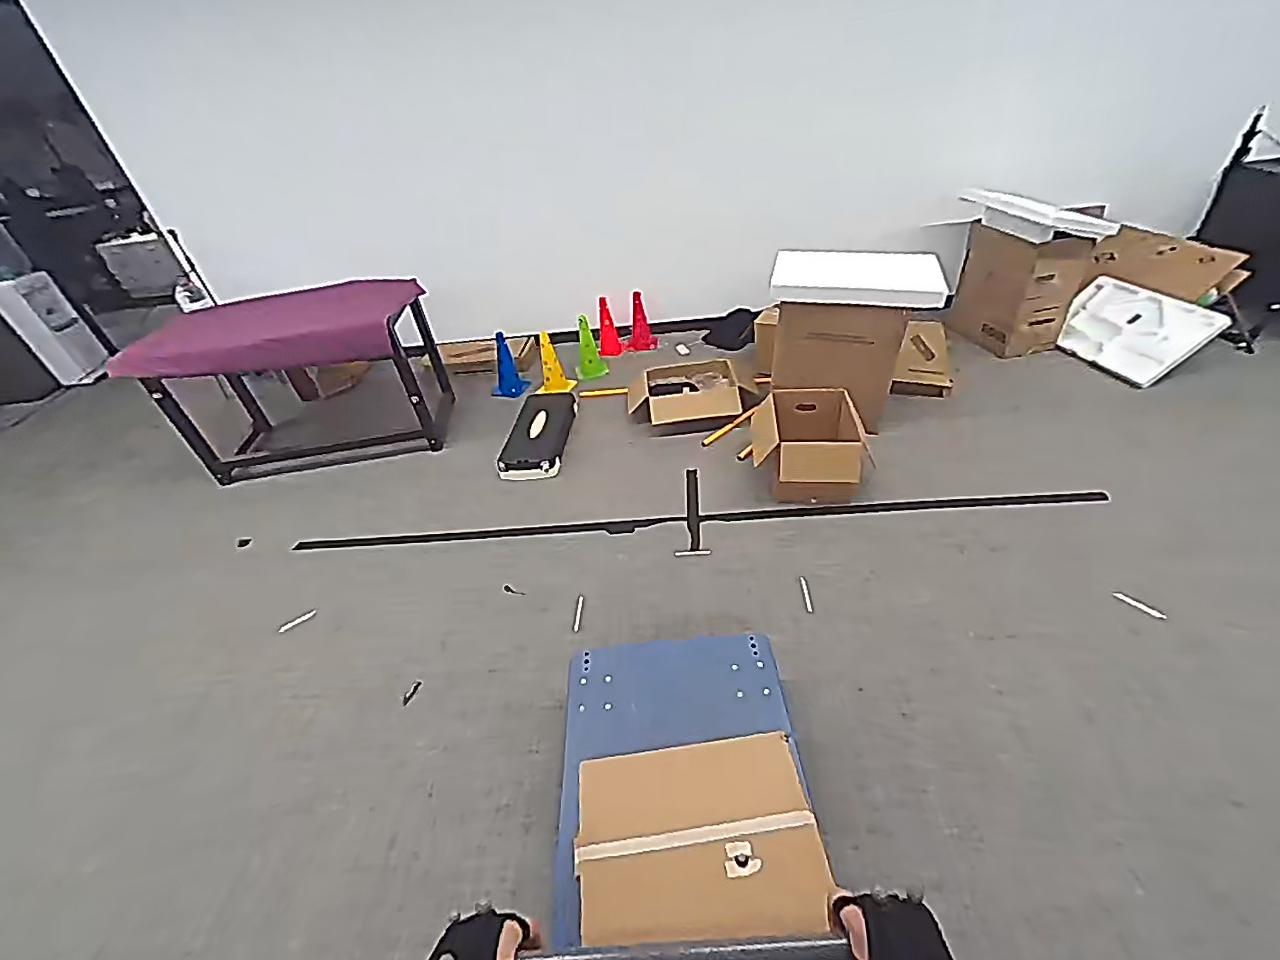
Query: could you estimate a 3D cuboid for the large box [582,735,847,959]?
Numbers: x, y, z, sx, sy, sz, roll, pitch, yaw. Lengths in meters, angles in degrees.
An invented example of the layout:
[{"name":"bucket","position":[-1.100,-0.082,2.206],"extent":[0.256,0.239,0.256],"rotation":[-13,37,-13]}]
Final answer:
[{"name":"large box","position":[0.115,0.735,1.015],"extent":[0.408,0.320,0.320],"rotation":[-8,38,-2]}]
